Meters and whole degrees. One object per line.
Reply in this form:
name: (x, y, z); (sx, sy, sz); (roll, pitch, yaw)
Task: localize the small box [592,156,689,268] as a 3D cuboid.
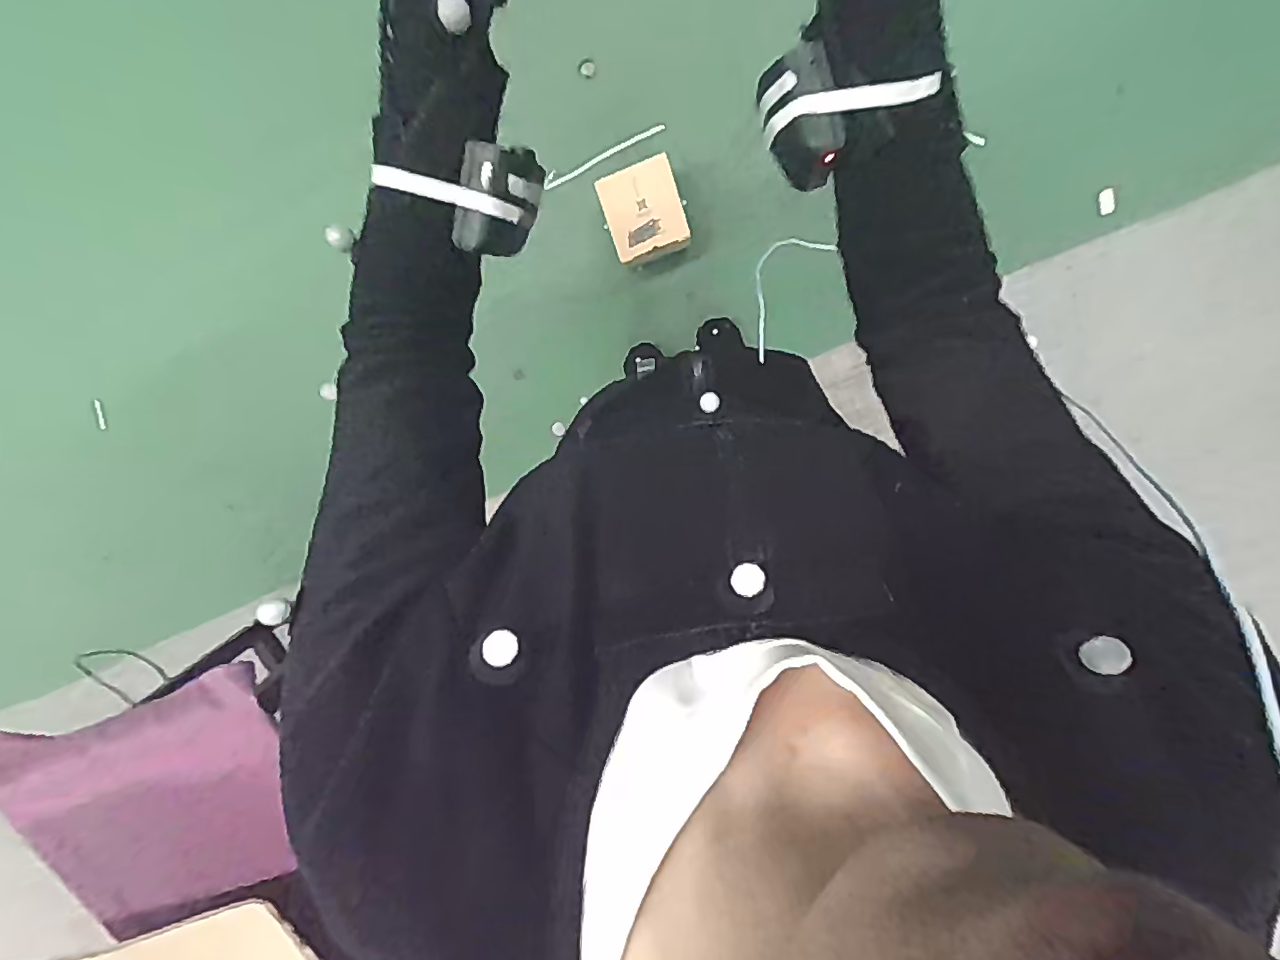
small box: (0.007, -0.602, 1.240); (0.168, 0.176, 0.179); (-21, 106, 9)
